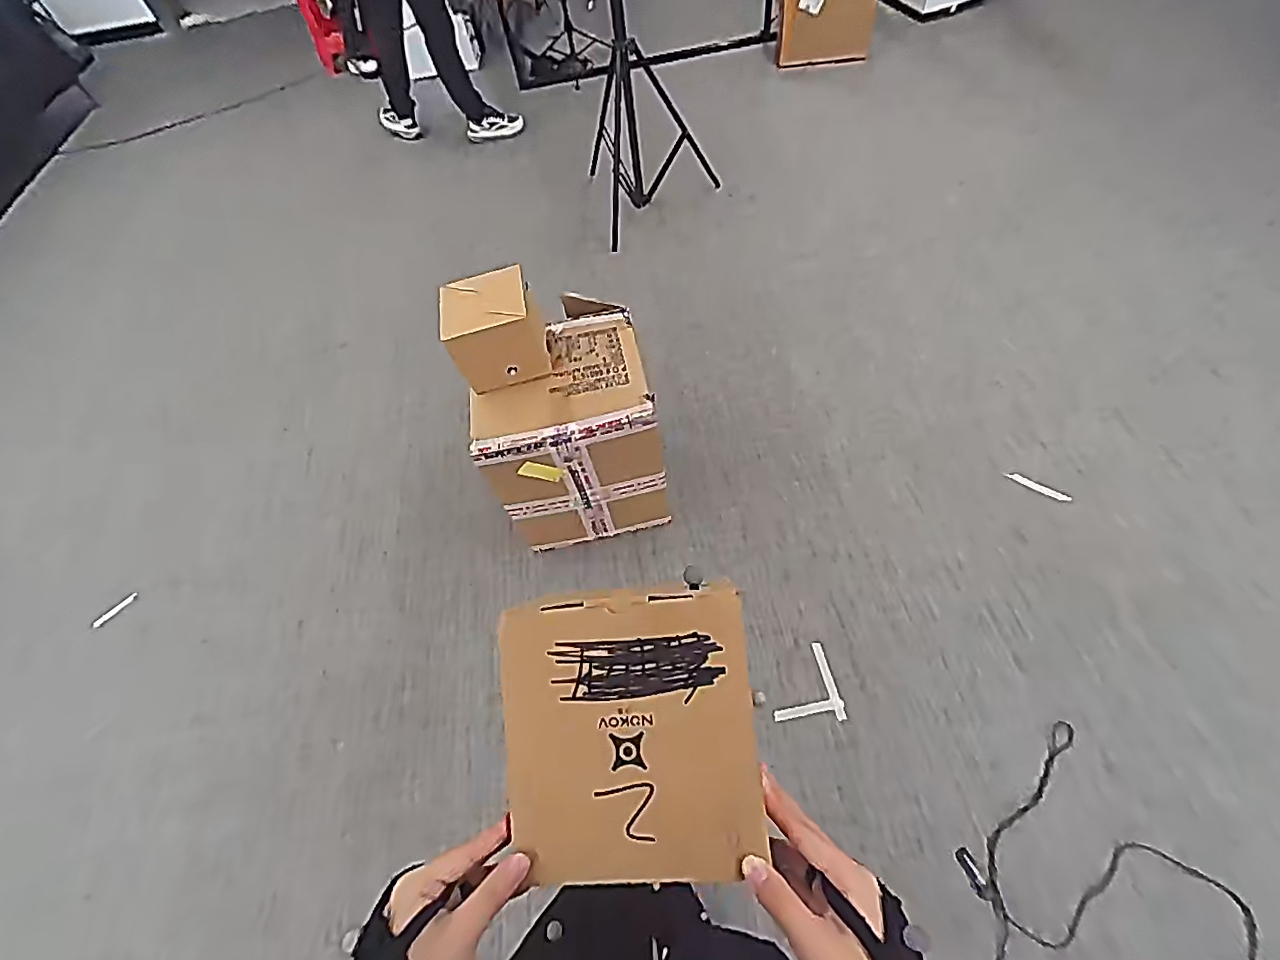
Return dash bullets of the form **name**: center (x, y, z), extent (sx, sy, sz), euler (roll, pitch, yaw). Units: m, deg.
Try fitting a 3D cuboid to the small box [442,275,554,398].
- **small box**: center (-0.301, -0.309, 1.156), extent (0.179, 0.176, 0.168), euler (-14, 58, 2)
